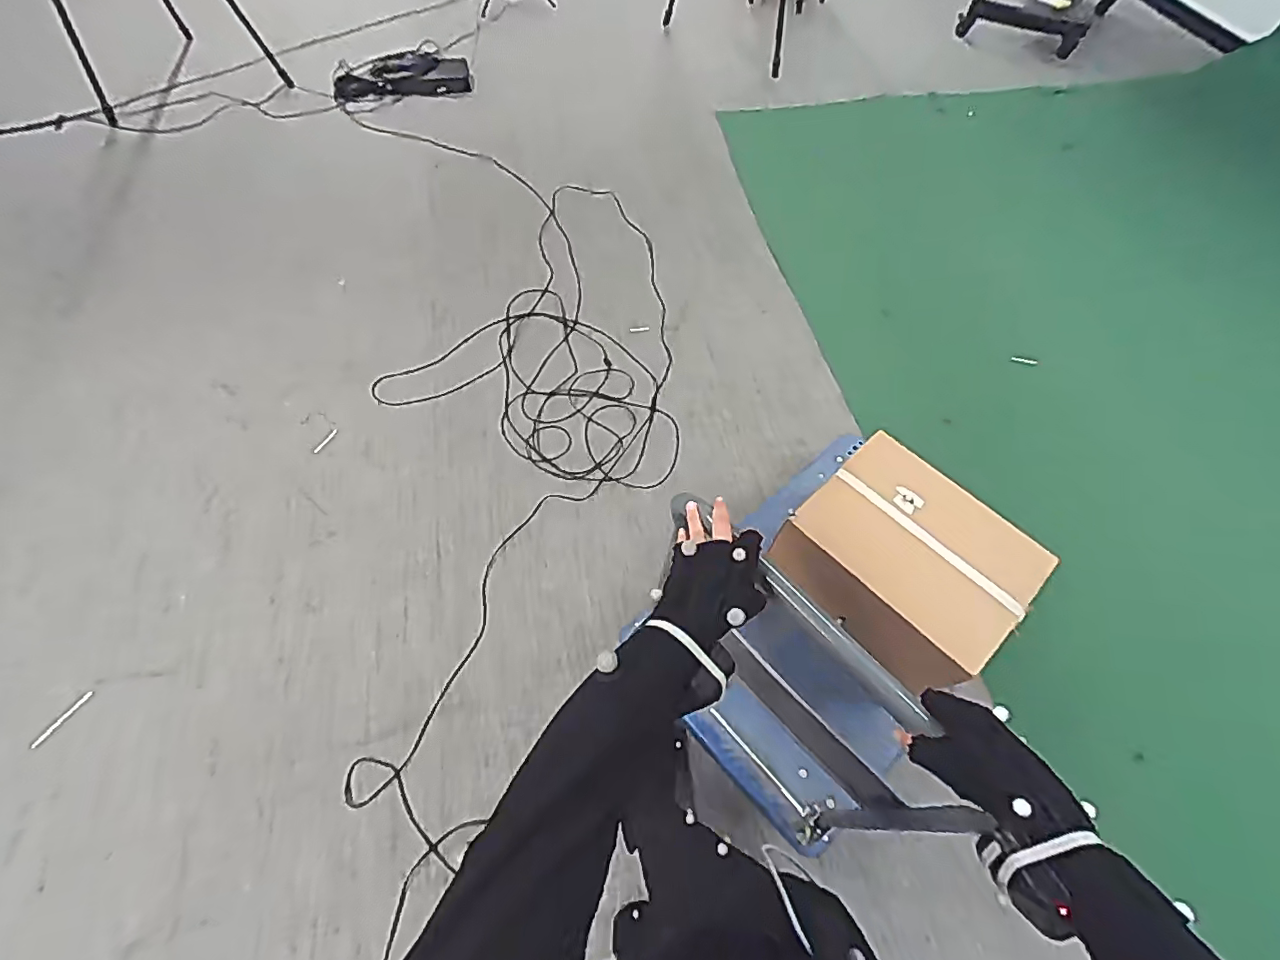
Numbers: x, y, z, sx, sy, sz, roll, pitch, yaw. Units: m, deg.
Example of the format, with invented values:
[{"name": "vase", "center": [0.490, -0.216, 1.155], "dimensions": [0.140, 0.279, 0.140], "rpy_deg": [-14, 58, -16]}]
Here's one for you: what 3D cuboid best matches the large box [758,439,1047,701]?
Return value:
[{"name": "large box", "center": [0.527, 0.198, 1.167], "dimensions": [0.320, 0.320, 0.408], "rpy_deg": [-38, 67, -21]}]
